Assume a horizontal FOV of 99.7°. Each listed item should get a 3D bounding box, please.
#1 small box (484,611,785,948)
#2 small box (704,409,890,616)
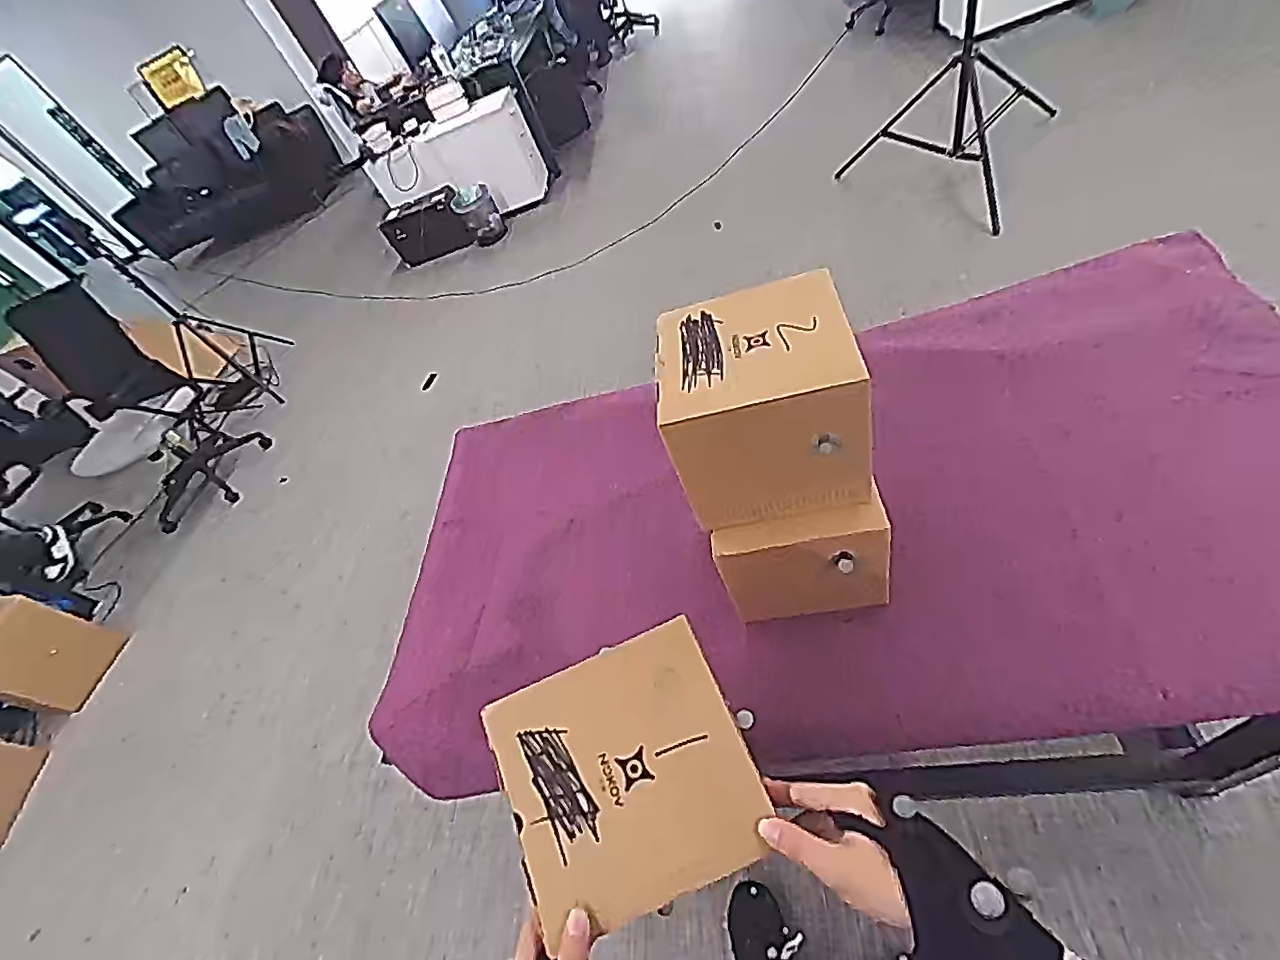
[{"bbox_3d":[0.000,0.234,0.454,0.179,0.176,0.168,-24,65,-3],"label":"small box"},{"bbox_3d":[0.183,0.046,0.646,0.179,0.176,0.168,-12,48,15],"label":"small box"}]
